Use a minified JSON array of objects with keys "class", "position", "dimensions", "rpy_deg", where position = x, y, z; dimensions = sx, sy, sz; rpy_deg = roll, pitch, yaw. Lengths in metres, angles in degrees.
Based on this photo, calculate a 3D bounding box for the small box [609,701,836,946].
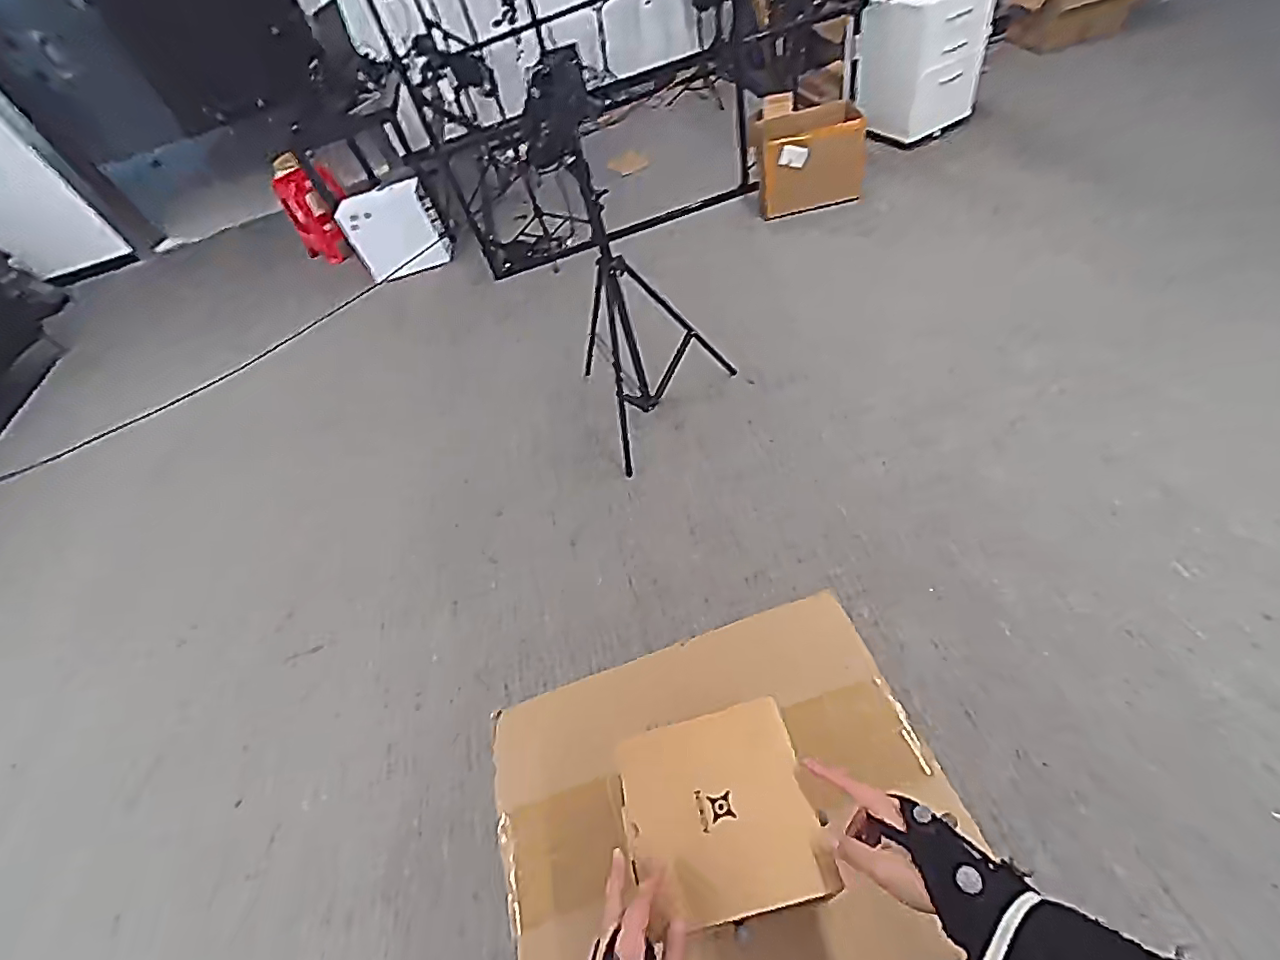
[{"class":"small box","position":[0.082,0.356,0.564],"dimensions":[0.179,0.176,0.168],"rpy_deg":[-17,49,2]}]
